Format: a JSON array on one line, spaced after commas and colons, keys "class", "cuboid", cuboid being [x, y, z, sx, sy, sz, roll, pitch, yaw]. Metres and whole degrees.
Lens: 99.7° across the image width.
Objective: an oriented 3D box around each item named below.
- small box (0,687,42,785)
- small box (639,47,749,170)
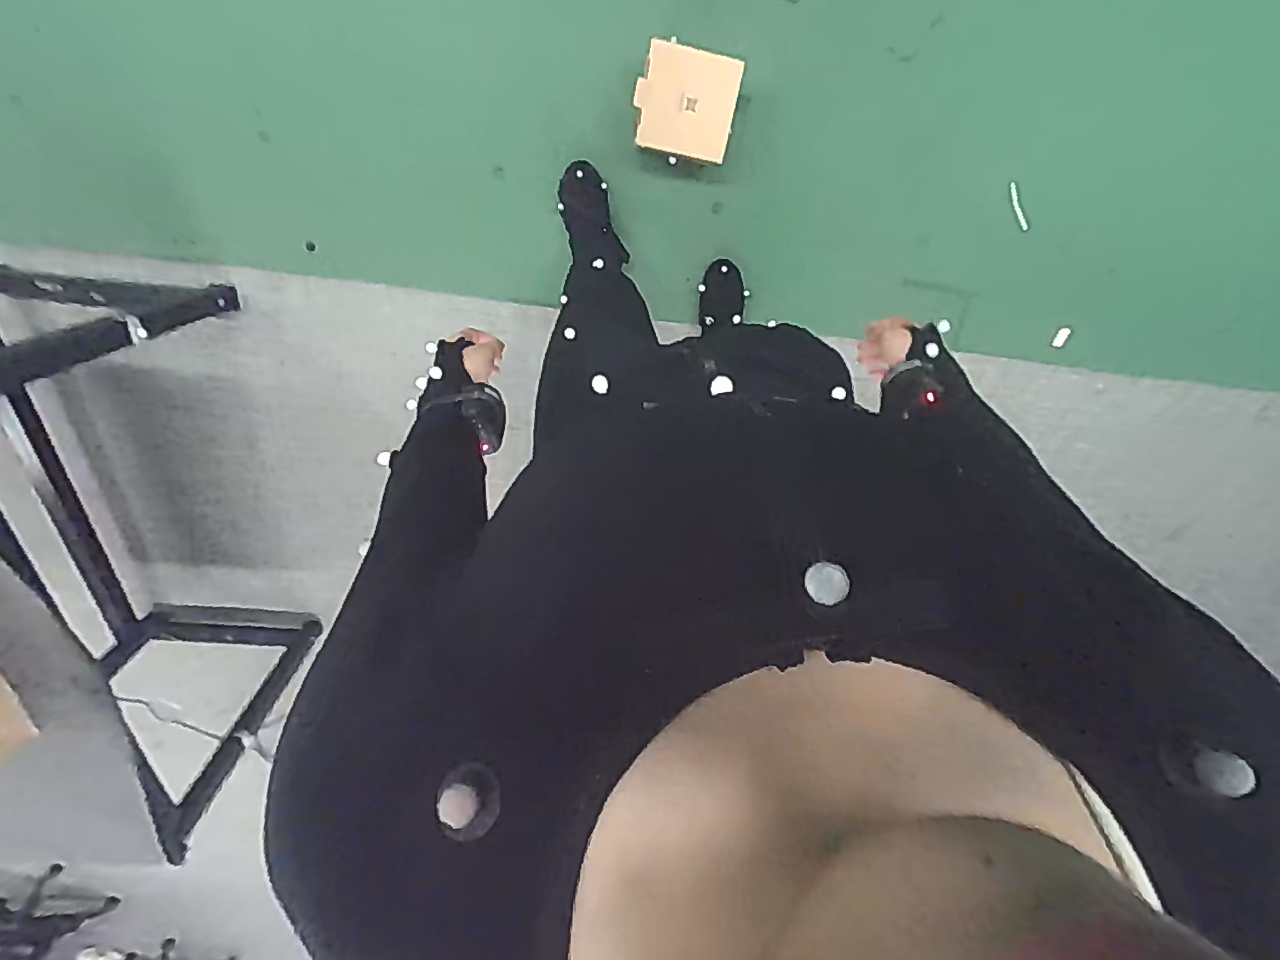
[{"class": "small box", "cuboid": [-1.181, 0.454, 0.900, 0.168, 0.176, 0.179, 7, 120, -3]}, {"class": "small box", "cuboid": [0.098, -0.730, 1.077, 0.179, 0.176, 0.168, 9, 120, -5]}]
